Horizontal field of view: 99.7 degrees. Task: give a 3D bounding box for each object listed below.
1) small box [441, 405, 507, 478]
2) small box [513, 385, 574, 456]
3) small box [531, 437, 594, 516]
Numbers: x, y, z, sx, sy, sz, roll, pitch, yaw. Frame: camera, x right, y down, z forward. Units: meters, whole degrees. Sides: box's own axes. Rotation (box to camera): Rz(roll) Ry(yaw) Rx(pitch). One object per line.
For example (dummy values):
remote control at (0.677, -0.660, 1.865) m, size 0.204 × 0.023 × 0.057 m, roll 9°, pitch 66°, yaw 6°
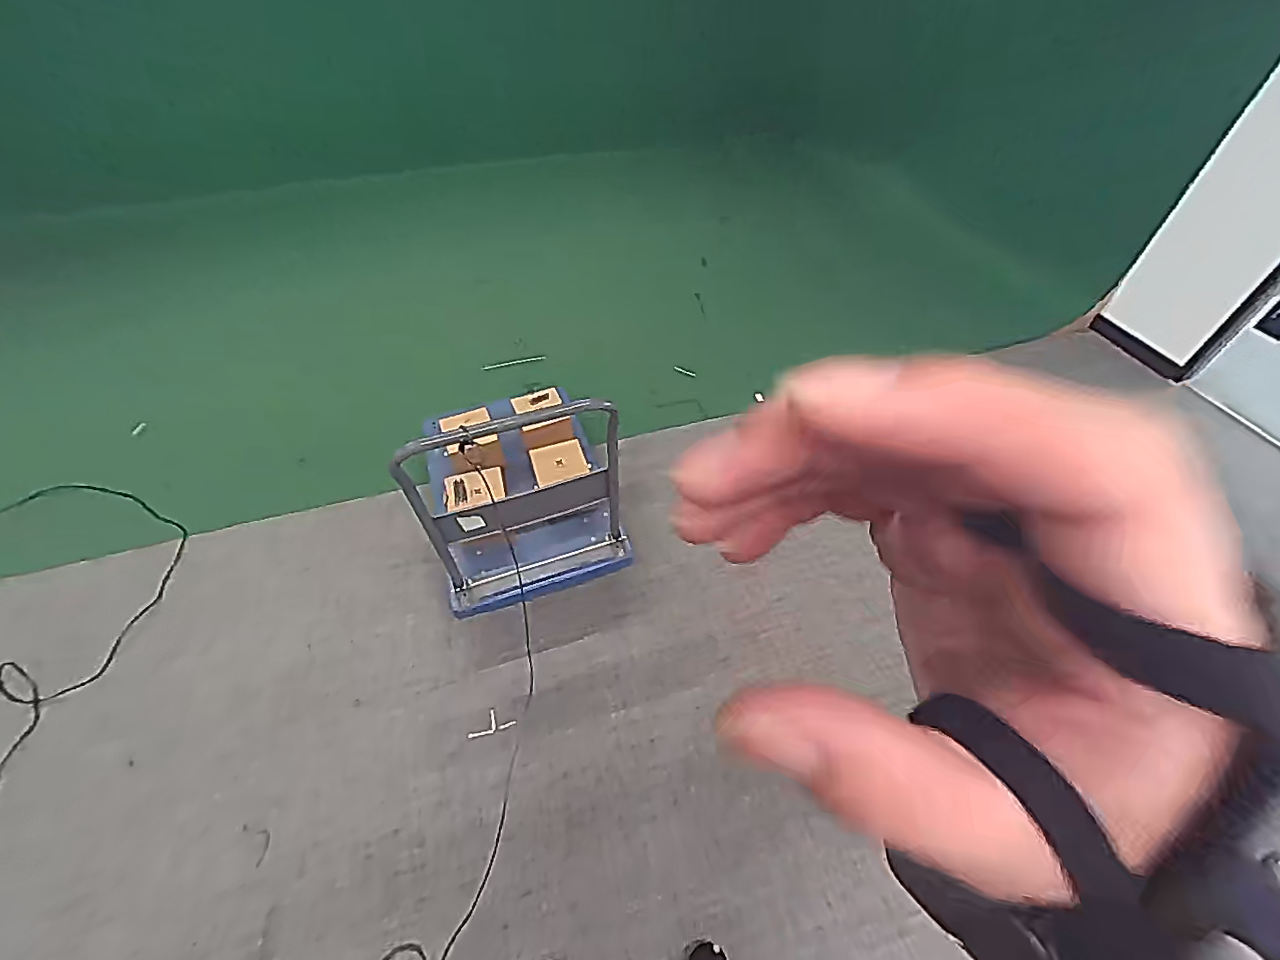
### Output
small box at (-0.574, -0.127, 1.880) m, size 0.168 × 0.176 × 0.179 m, roll -18°, pitch 53°, yaw -15°
small box at (-0.344, -0.207, 1.943) m, size 0.168 × 0.176 × 0.179 m, roll -19°, pitch 54°, yaw -14°
small box at (-0.253, -0.010, 1.782) m, size 0.168 × 0.176 × 0.179 m, roll -15°, pitch 53°, yaw -12°
